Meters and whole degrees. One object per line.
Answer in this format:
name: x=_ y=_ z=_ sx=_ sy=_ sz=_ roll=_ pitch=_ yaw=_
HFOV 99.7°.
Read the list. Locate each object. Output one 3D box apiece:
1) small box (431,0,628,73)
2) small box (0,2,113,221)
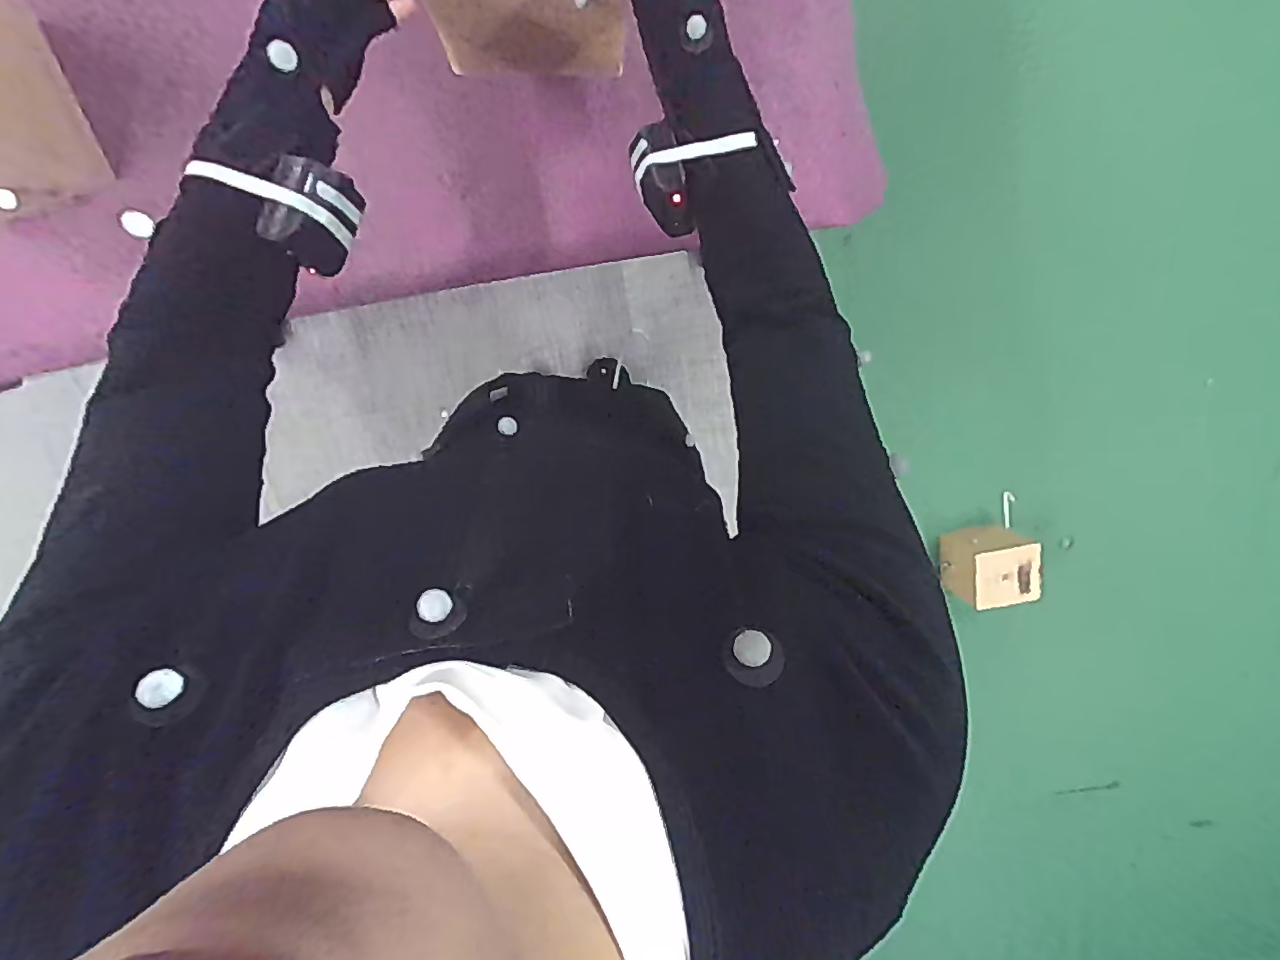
small box: x=-0.098 y=-0.484 z=0.463 sx=0.179 sy=0.176 sz=0.168 roll=-2 pitch=101 yaw=-5
small box: x=-0.707 y=-0.387 z=0.536 sx=0.168 sy=0.176 sz=0.179 roll=-18 pitch=104 yaw=2
